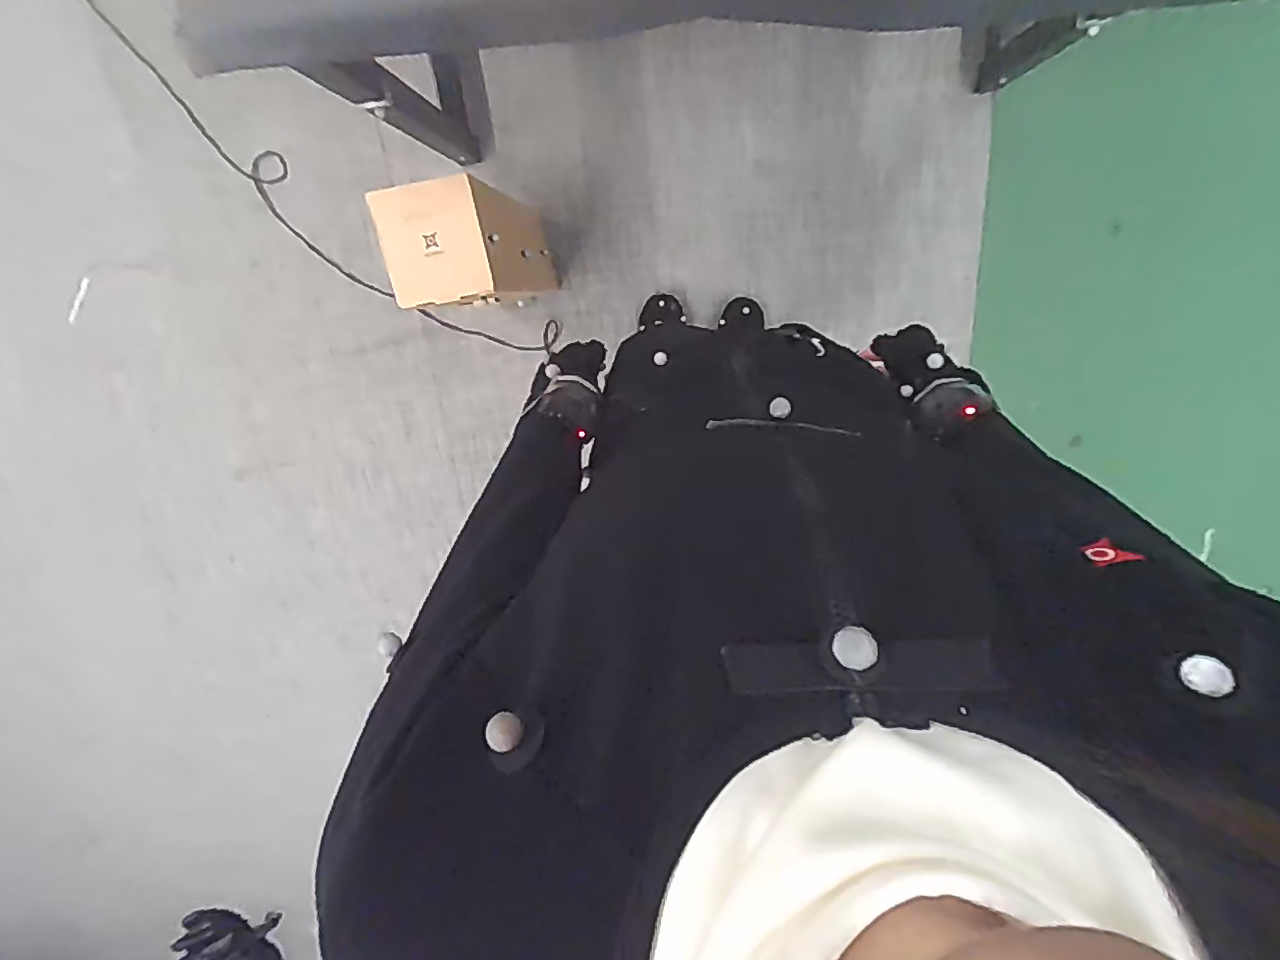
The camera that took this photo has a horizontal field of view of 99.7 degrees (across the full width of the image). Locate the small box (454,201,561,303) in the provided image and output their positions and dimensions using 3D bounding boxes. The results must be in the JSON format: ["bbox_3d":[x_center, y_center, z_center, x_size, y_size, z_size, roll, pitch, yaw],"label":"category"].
[{"bbox_3d":[-0.292,-0.509,1.227,0.168,0.176,0.179,-11,109,8],"label":"small box"}]
